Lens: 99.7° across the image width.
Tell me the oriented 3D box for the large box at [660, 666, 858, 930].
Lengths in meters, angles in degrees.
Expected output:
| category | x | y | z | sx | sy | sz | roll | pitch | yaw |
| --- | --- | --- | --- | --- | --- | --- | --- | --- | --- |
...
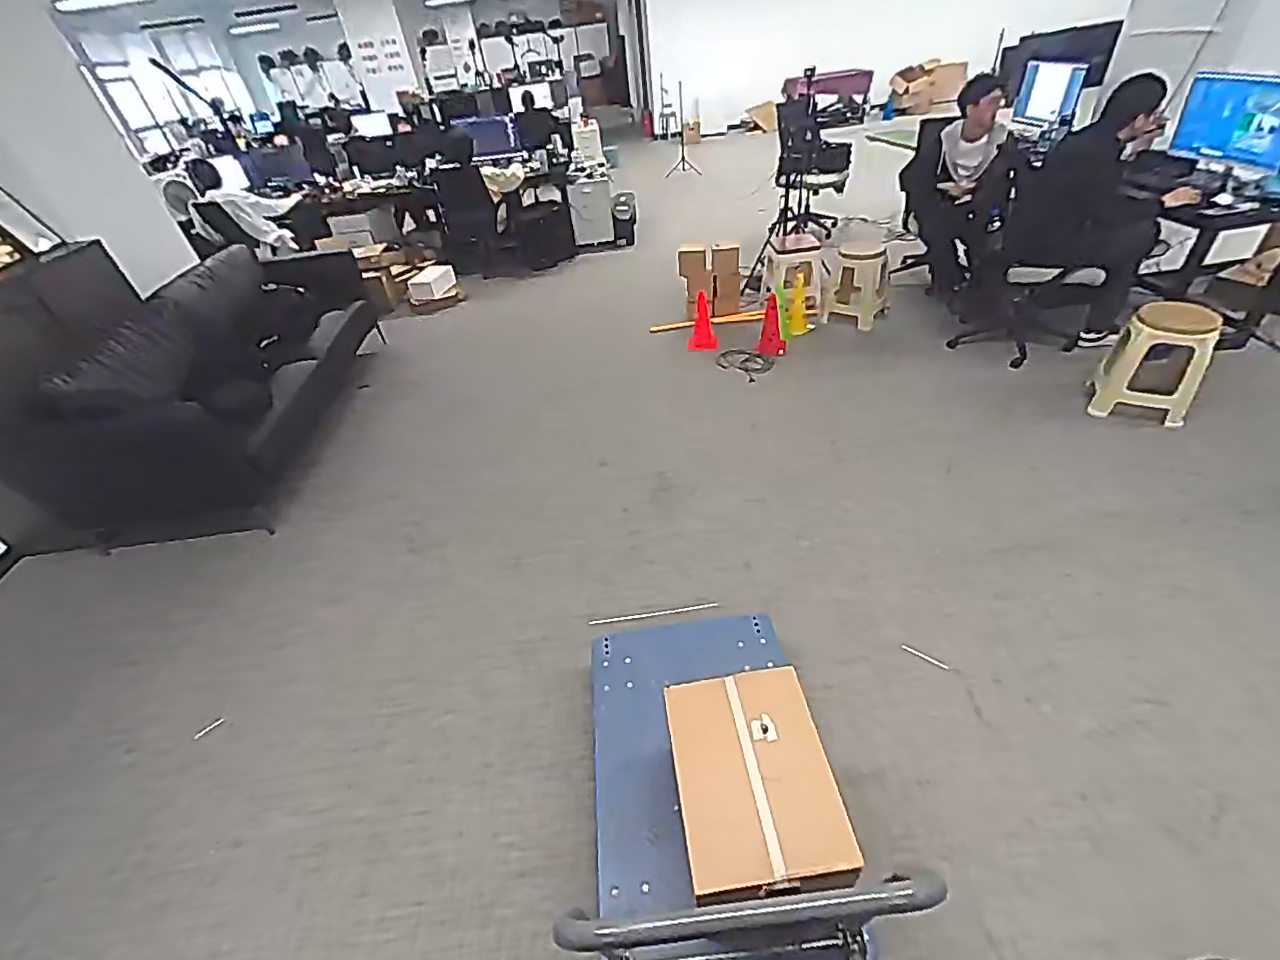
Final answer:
| category | x | y | z | sx | sy | sz | roll | pitch | yaw |
| --- | --- | --- | --- | --- | --- | --- | --- | --- | --- |
| large box | 0.238 | 0.698 | 1.209 | 0.320 | 0.320 | 0.408 | -9 | 40 | -1 |
